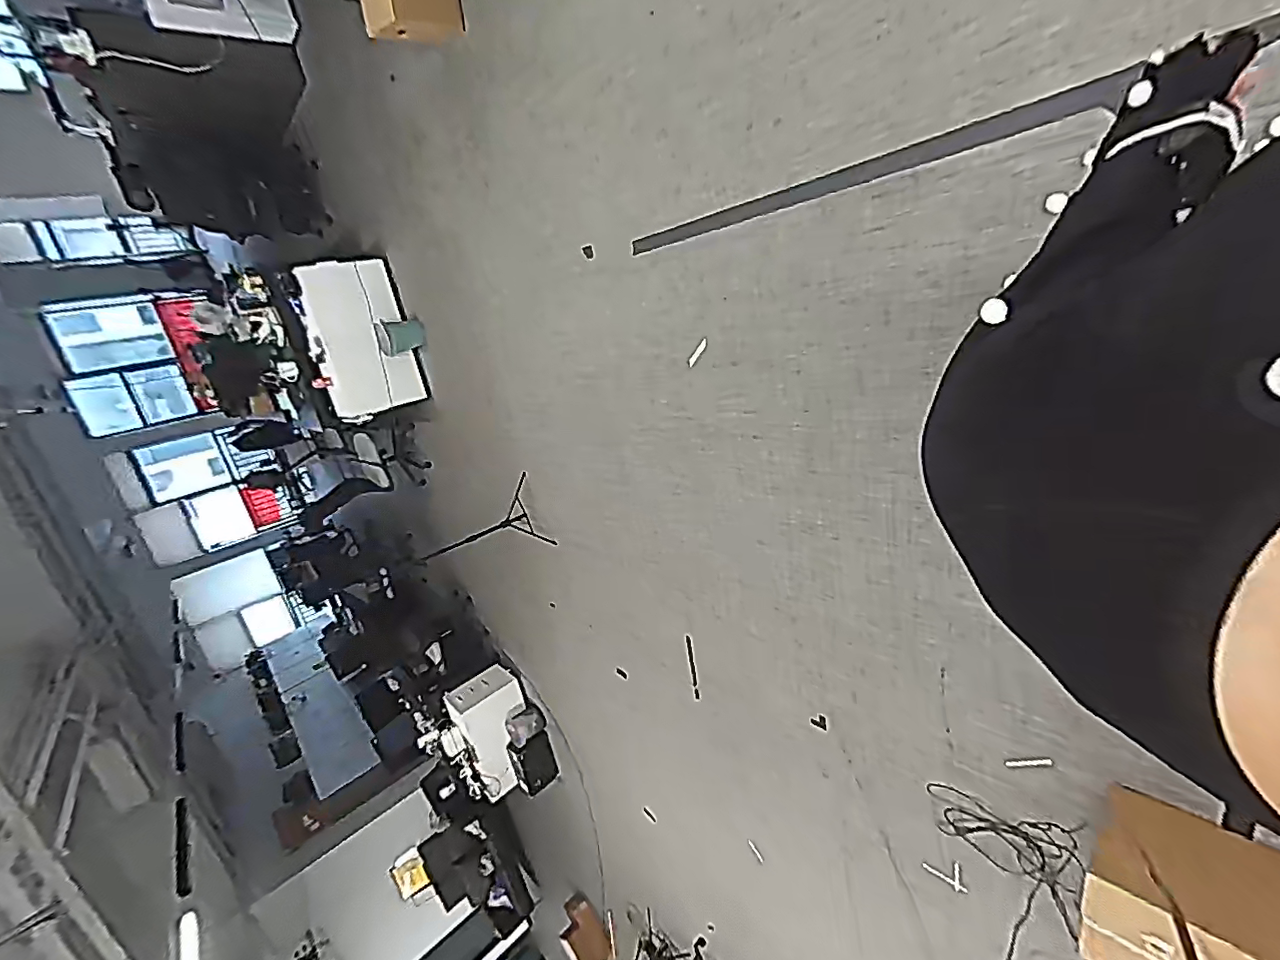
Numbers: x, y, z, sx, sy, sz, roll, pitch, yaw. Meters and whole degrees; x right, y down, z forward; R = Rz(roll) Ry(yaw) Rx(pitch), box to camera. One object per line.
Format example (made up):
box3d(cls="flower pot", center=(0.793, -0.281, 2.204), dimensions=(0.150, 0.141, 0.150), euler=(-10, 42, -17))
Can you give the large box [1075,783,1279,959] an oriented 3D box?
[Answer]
box3d(cls="large box", center=(1.316, 1.020, 1.266), dimensions=(0.408, 0.320, 0.320), euler=(11, 118, 48))
